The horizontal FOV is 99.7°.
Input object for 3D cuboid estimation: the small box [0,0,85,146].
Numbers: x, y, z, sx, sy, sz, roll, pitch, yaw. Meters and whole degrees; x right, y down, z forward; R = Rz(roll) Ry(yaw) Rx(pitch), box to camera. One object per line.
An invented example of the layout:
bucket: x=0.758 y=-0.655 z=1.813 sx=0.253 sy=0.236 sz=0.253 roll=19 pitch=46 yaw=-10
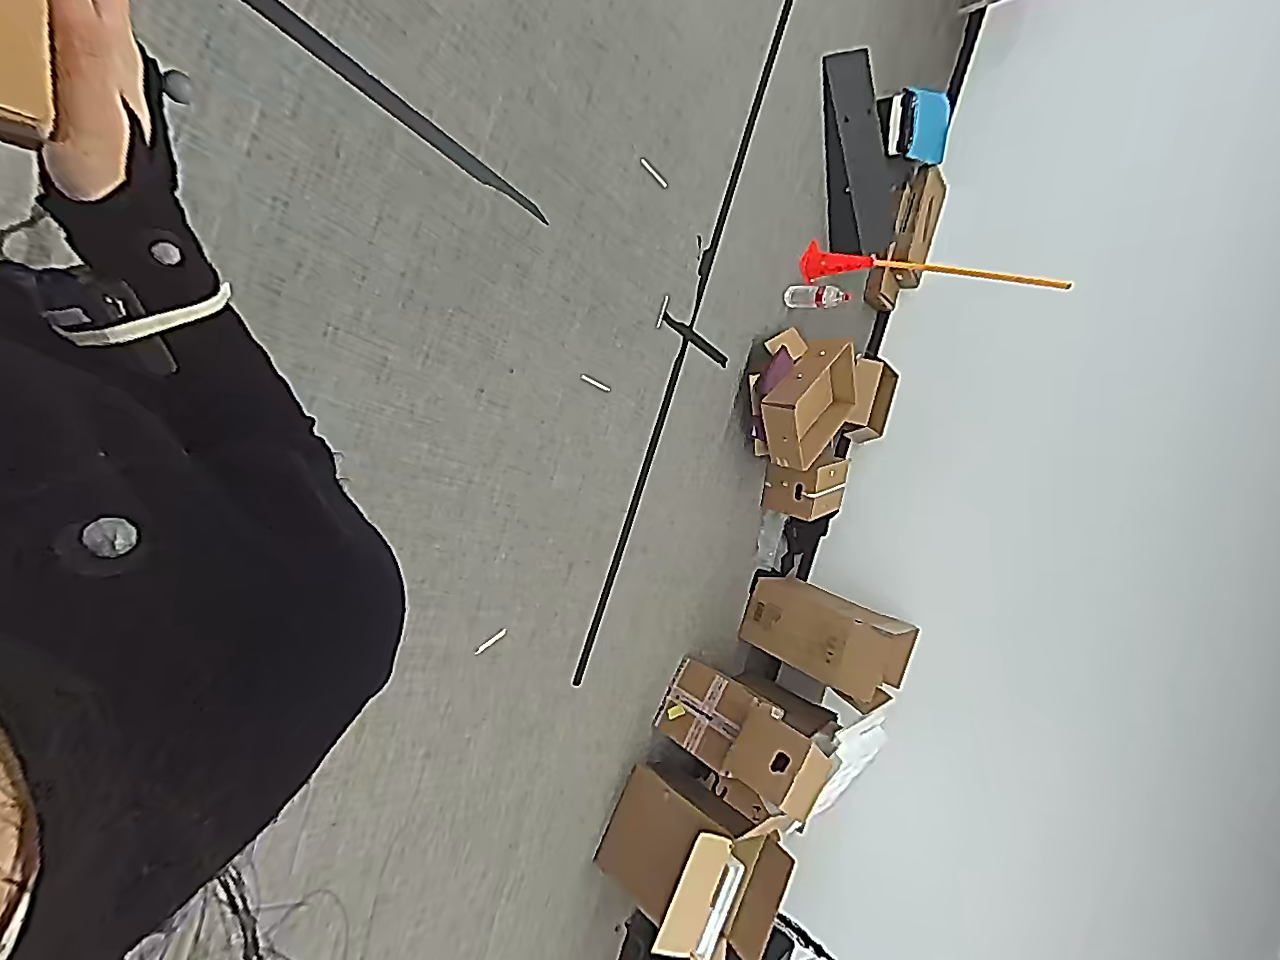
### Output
small box: x=-0.309 y=-0.241 z=0.180 sx=0.168 sy=0.176 sz=0.179 roll=-2 pitch=112 yaw=-48
